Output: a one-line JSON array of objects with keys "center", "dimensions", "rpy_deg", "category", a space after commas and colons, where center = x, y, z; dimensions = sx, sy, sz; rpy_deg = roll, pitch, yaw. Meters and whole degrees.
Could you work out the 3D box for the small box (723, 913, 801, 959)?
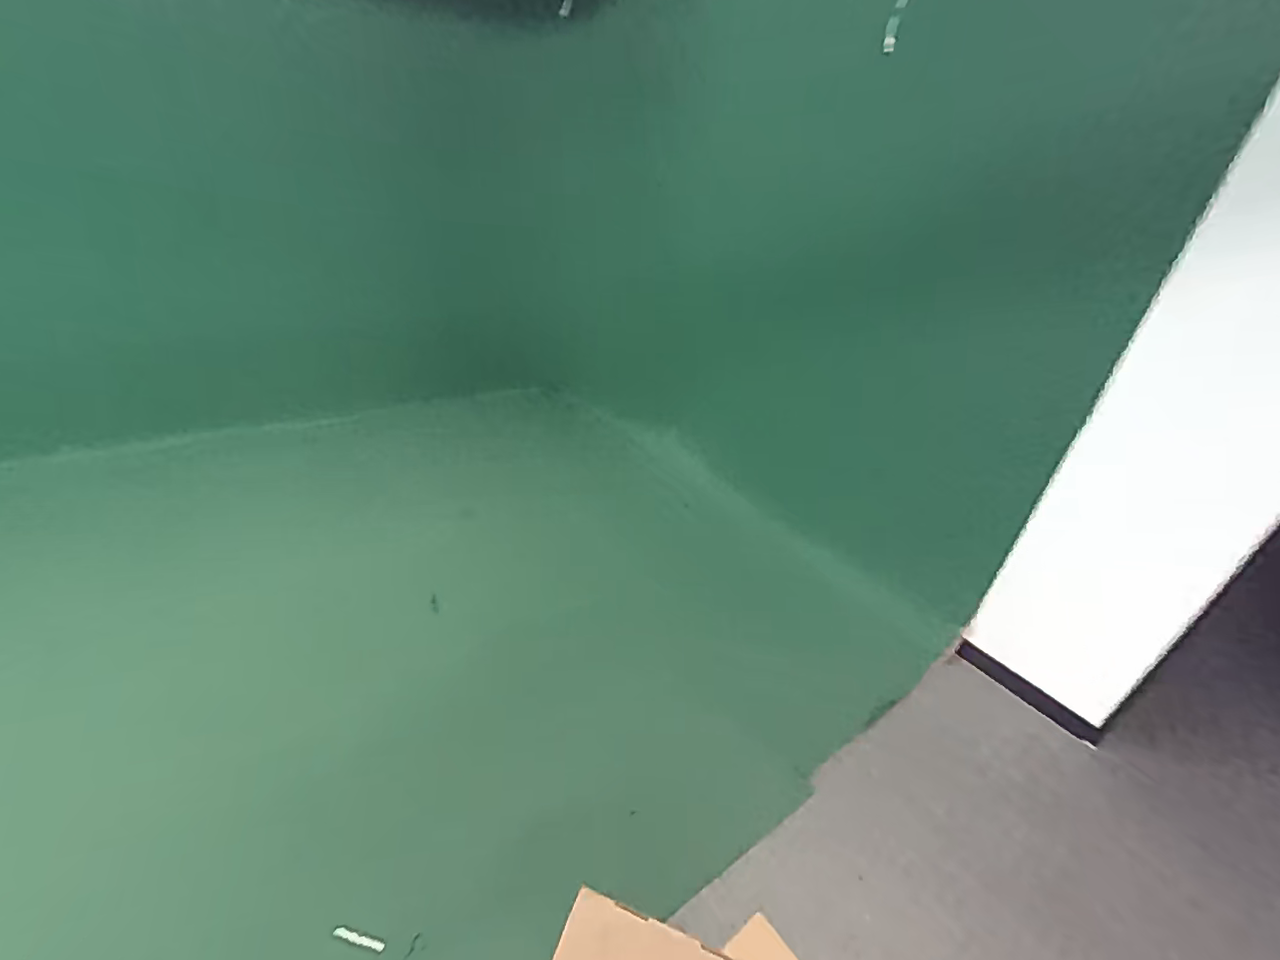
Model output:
[{"center": [0.154, 0.755, 0.728], "dimensions": [0.179, 0.176, 0.168], "rpy_deg": [-18, 36, -33], "category": "small box"}]
